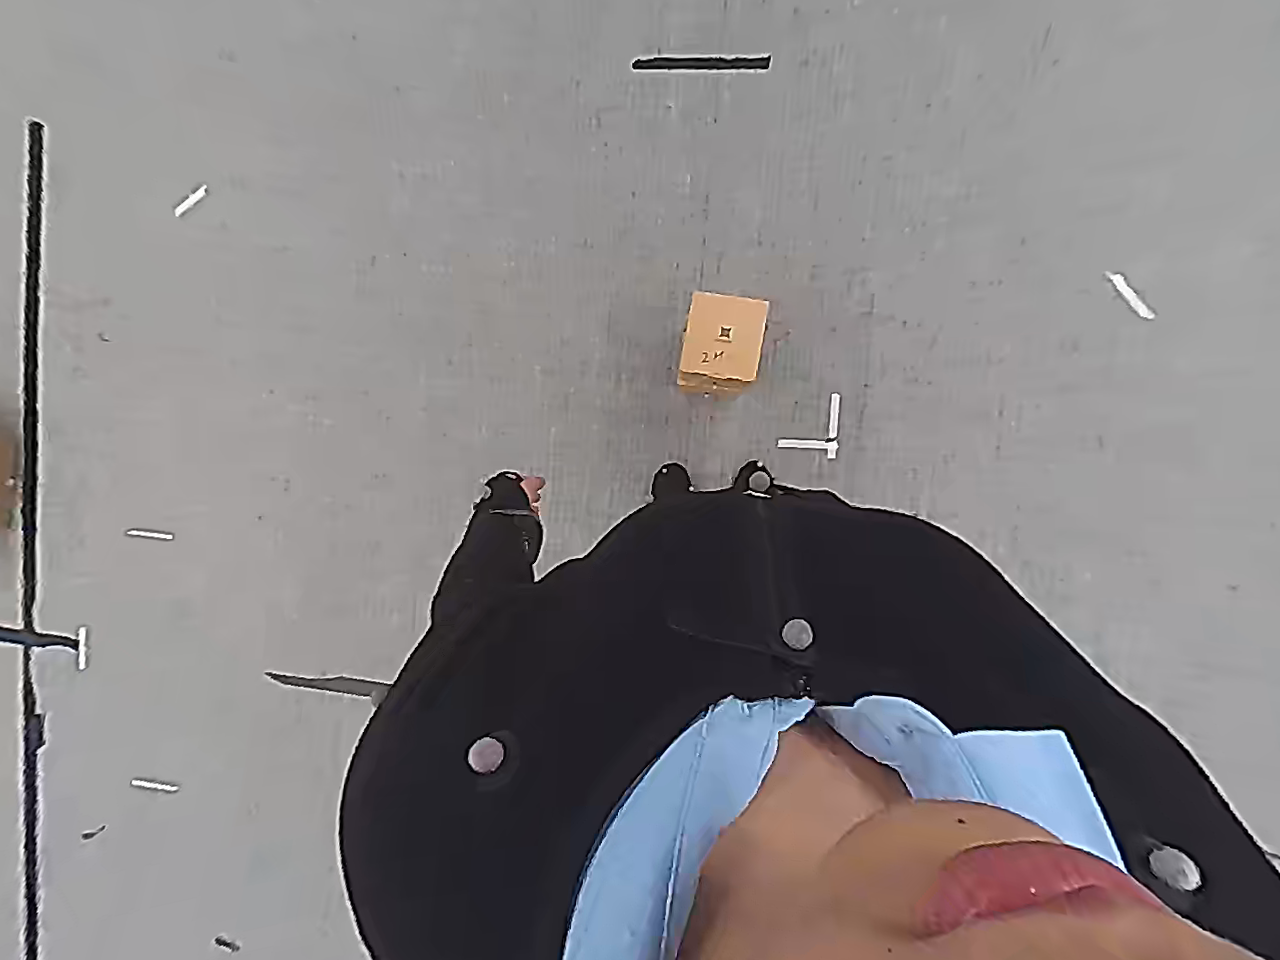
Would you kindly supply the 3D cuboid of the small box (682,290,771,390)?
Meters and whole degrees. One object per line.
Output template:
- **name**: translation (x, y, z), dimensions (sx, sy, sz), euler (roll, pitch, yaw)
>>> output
- **small box**: translation (0.191, -0.310, 1.229), dimensions (0.168, 0.176, 0.179), euler (10, 95, 6)
